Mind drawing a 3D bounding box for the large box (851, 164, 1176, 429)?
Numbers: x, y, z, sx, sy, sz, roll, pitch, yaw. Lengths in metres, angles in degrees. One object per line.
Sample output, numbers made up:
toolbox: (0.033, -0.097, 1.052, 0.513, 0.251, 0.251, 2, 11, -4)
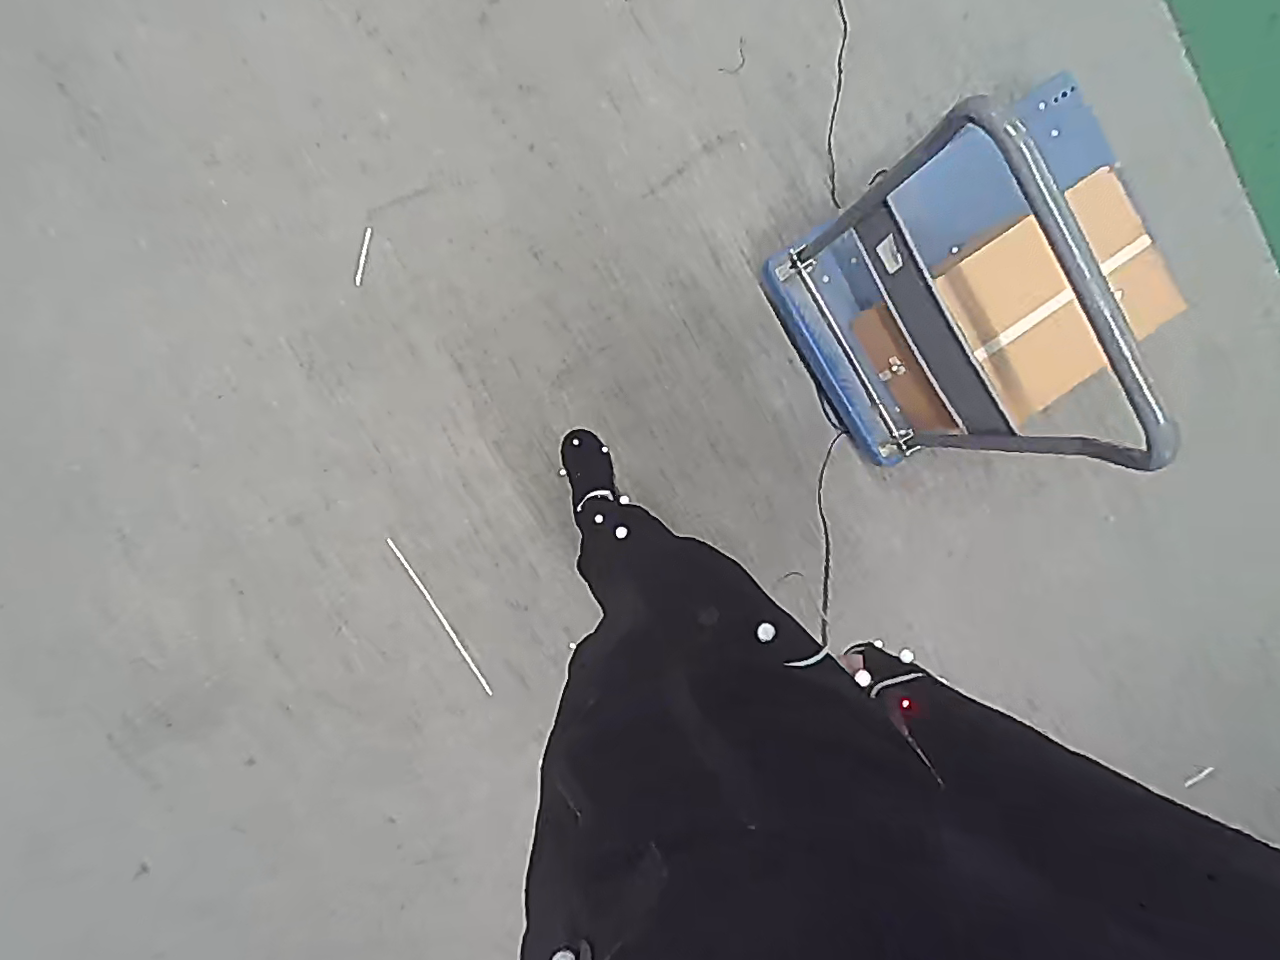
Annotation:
large box: (0.743, -0.346, 1.133, 0.408, 0.320, 0.320, -34, 97, -3)
